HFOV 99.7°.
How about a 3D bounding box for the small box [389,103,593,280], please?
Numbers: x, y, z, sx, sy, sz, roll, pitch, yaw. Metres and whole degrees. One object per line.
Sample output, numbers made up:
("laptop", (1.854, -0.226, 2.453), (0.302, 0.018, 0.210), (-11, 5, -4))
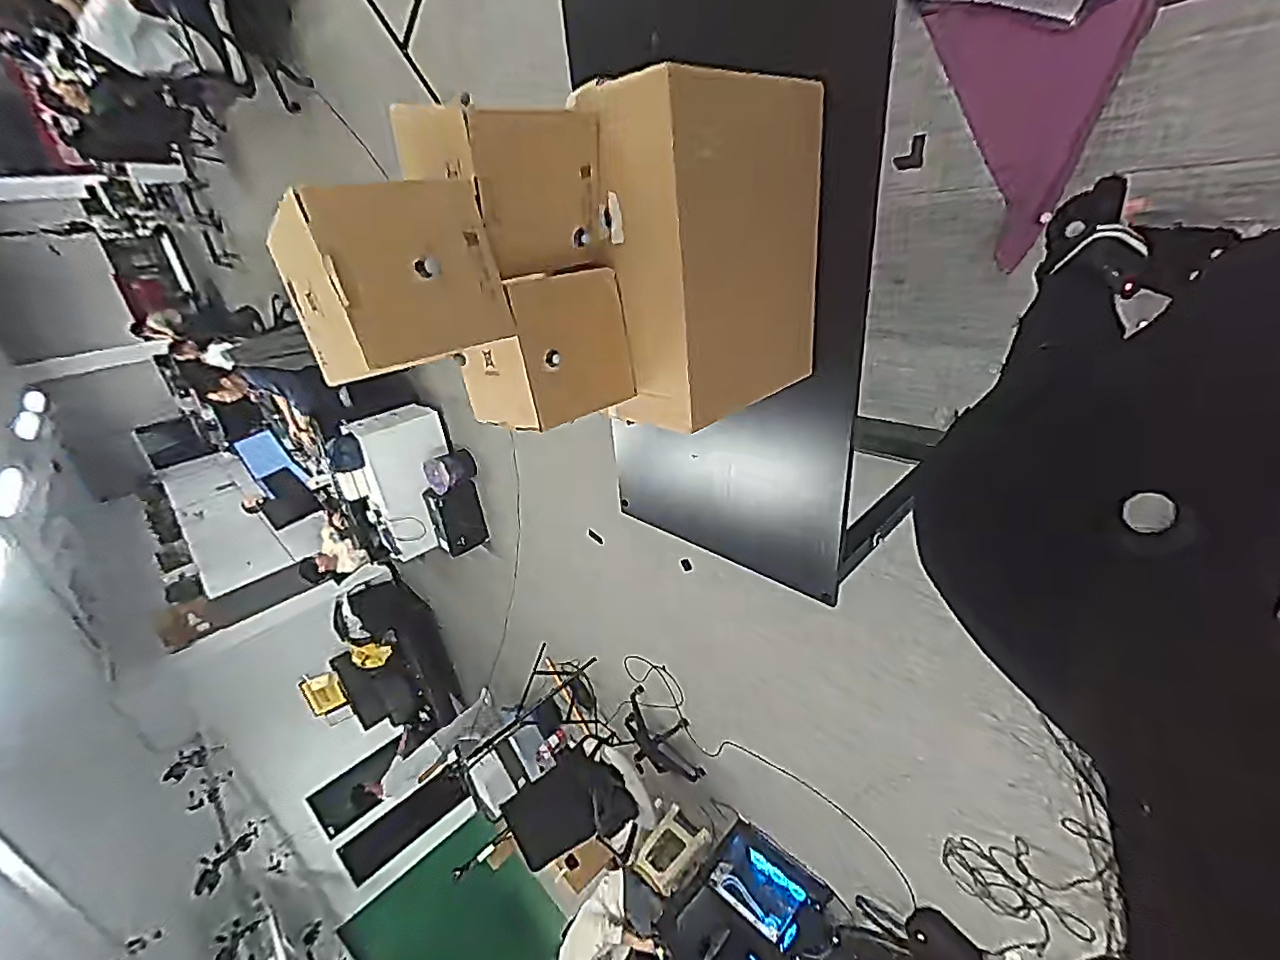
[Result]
("small box", (-0.169, -0.357, 0.657), (0.179, 0.176, 0.168), (32, 135, 36))

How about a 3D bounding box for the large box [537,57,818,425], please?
("large box", (0.054, -0.335, 0.815), (0.320, 0.320, 0.408), (18, 125, 43))

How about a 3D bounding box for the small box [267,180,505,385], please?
("small box", (-0.269, -0.213, 0.595), (0.179, 0.176, 0.168), (4, 115, 49))
